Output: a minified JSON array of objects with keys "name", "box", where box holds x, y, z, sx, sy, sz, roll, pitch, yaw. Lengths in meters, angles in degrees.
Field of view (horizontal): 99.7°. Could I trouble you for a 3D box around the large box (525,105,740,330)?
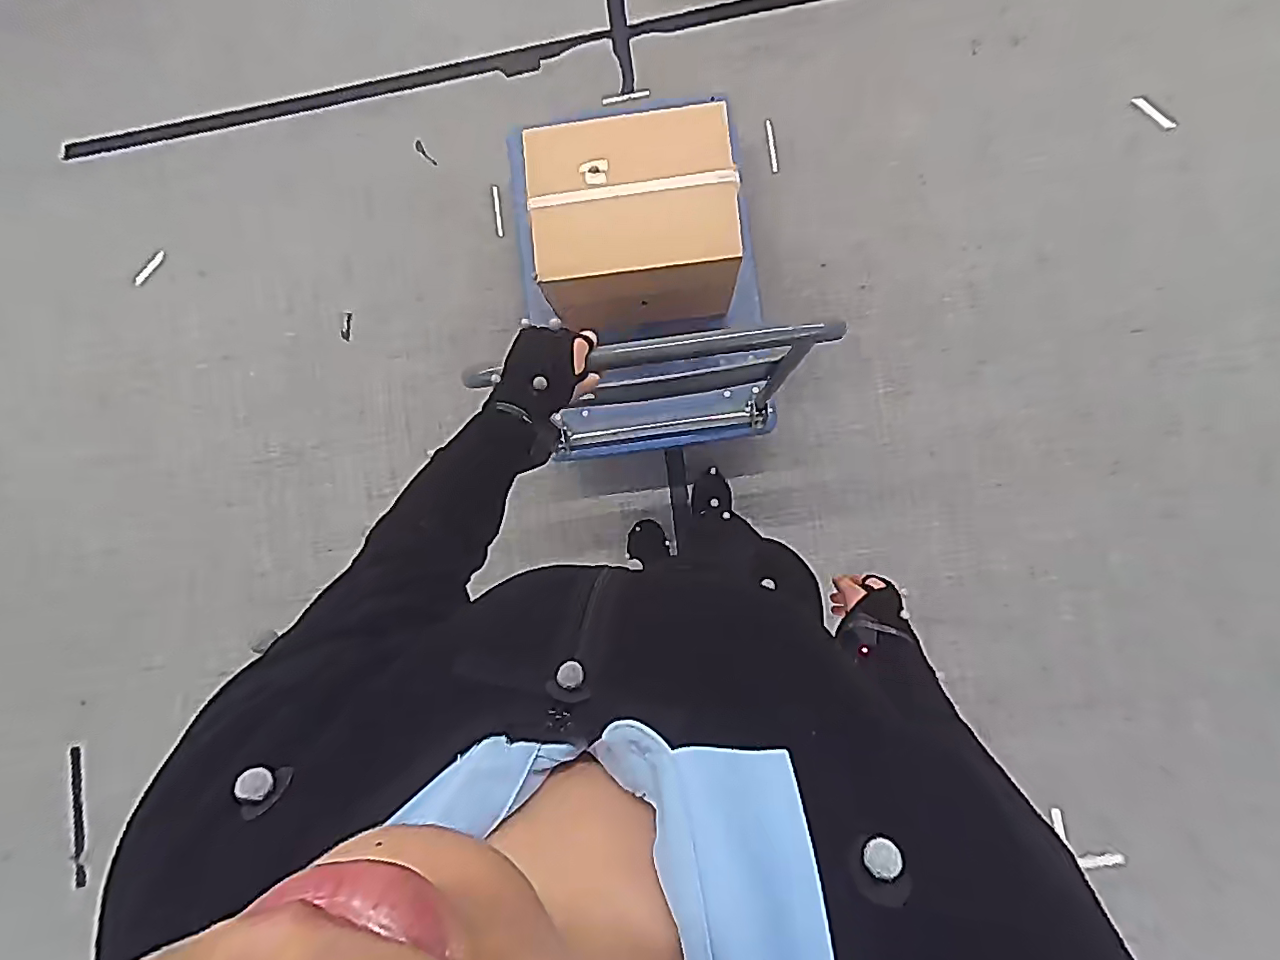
[{"name":"large box","box":[-0.006,-0.555,1.211,0.408,0.320,0.320,-6,86,4]}]
